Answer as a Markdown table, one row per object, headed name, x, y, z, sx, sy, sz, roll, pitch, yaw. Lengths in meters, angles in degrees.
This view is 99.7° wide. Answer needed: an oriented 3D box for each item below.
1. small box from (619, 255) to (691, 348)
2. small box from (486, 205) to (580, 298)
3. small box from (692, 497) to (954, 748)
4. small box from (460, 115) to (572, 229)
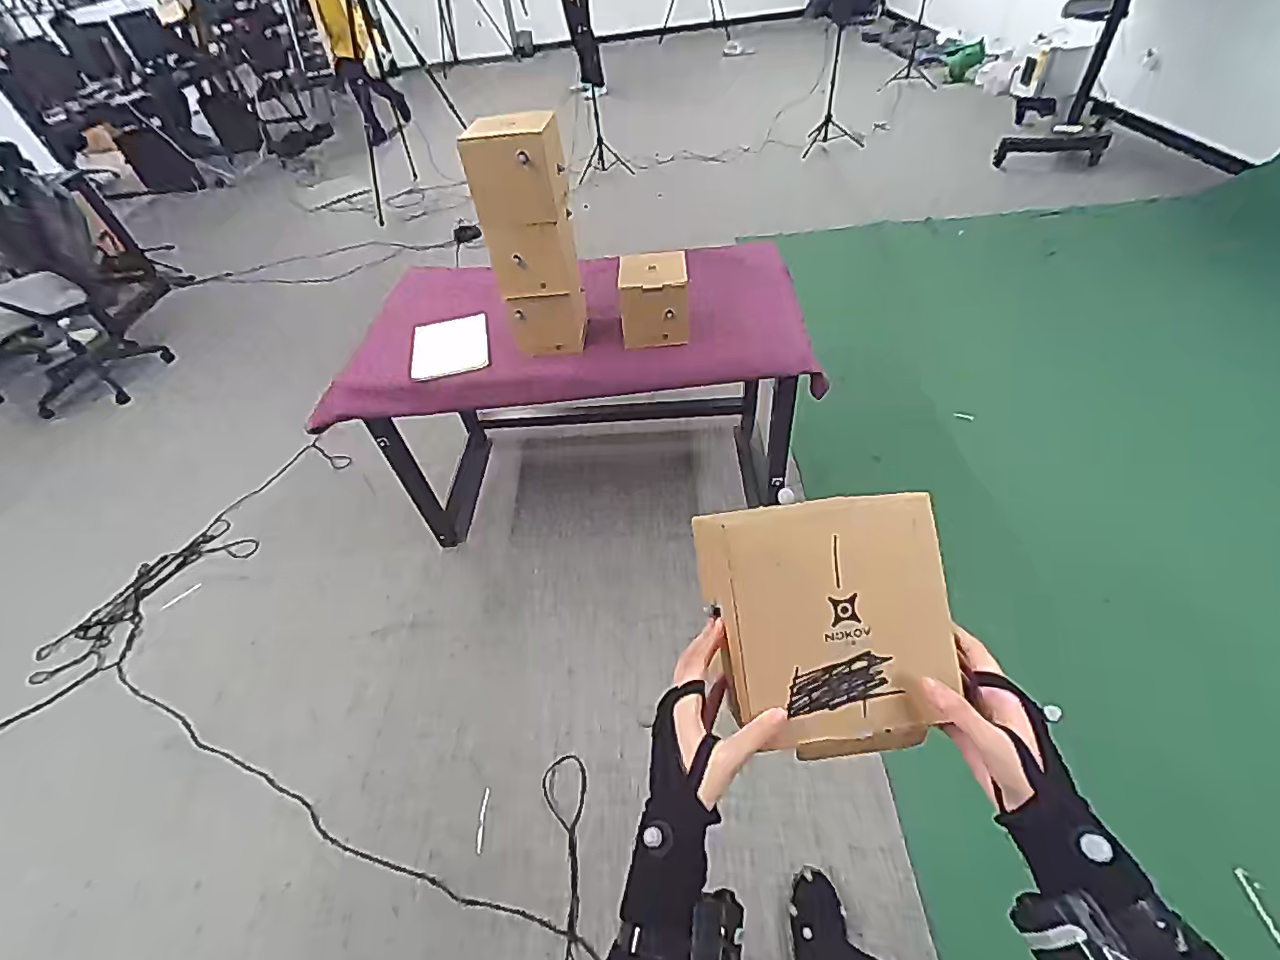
| name | x | y | z | sx | sy | sz | roll | pitch | yaw |
| --- | --- | --- | --- | --- | --- | --- | --- | --- | --- |
| small box | 0.043 | -0.448 | 1.372 | 0.168 | 0.176 | 0.179 | -2 | 45 | 4 |
| small box | -0.242 | -0.541 | 1.271 | 0.168 | 0.176 | 0.179 | -3 | 45 | 5 |
| small box | 0.147 | 0.111 | 0.493 | 0.168 | 0.176 | 0.179 | -7 | 87 | -3 |
| small box | -0.250 | -0.651 | 1.148 | 0.179 | 0.176 | 0.168 | -1 | 45 | 7 |
